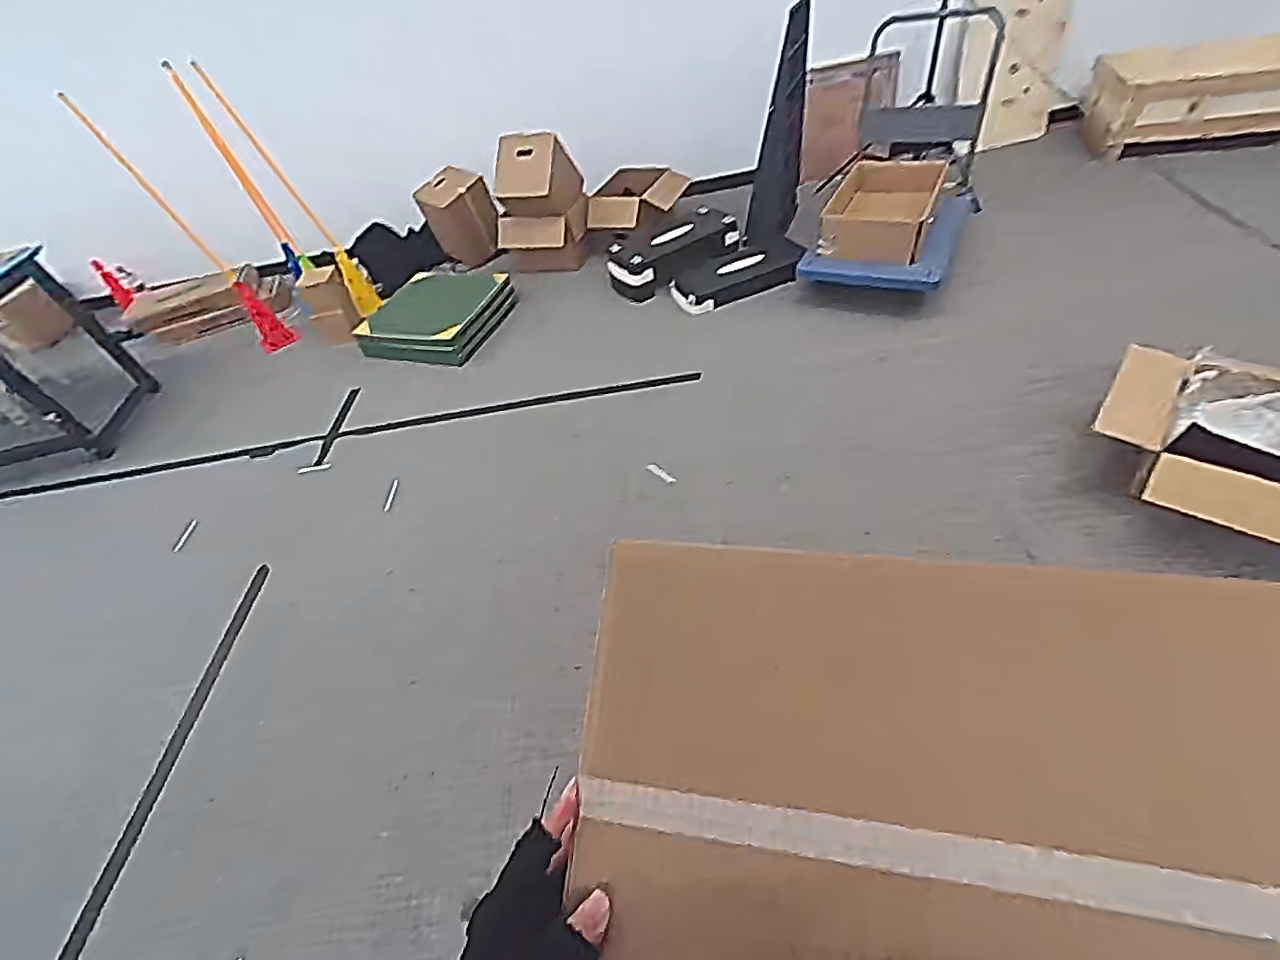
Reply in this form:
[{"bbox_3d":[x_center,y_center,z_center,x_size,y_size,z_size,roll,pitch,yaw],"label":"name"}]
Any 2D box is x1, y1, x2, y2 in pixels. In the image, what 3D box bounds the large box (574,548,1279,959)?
[{"bbox_3d":[0.191,0.250,0.425,0.408,0.320,0.320,3,71,13],"label":"large box"}]
